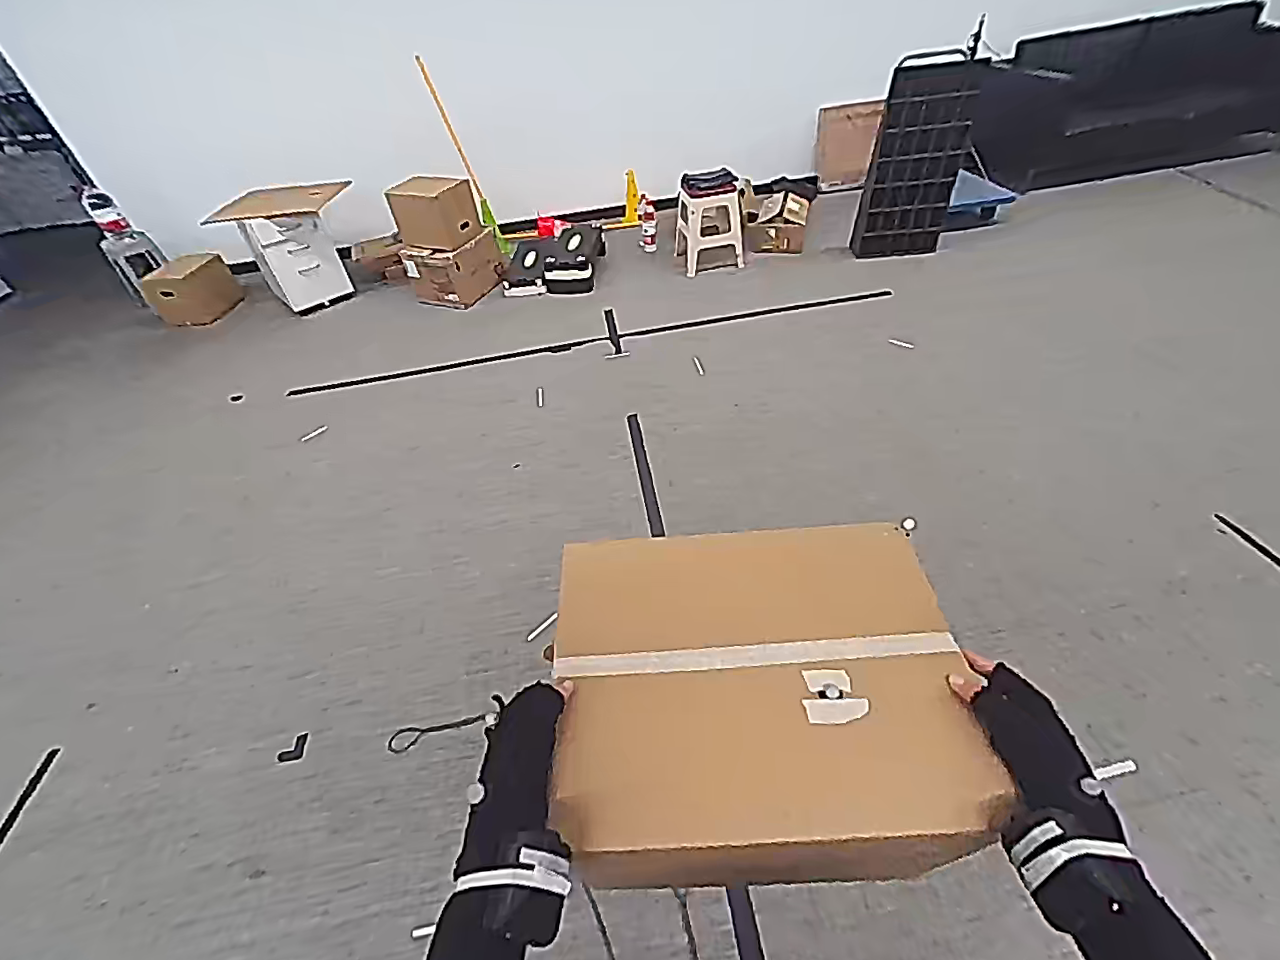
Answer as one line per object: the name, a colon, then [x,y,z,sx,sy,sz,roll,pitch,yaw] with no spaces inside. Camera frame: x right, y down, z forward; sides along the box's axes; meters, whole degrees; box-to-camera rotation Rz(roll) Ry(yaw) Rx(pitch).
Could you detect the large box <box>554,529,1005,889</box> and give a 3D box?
large box: [0.121,0.289,0.675,0.408,0.320,0.320,-4,48,1]
